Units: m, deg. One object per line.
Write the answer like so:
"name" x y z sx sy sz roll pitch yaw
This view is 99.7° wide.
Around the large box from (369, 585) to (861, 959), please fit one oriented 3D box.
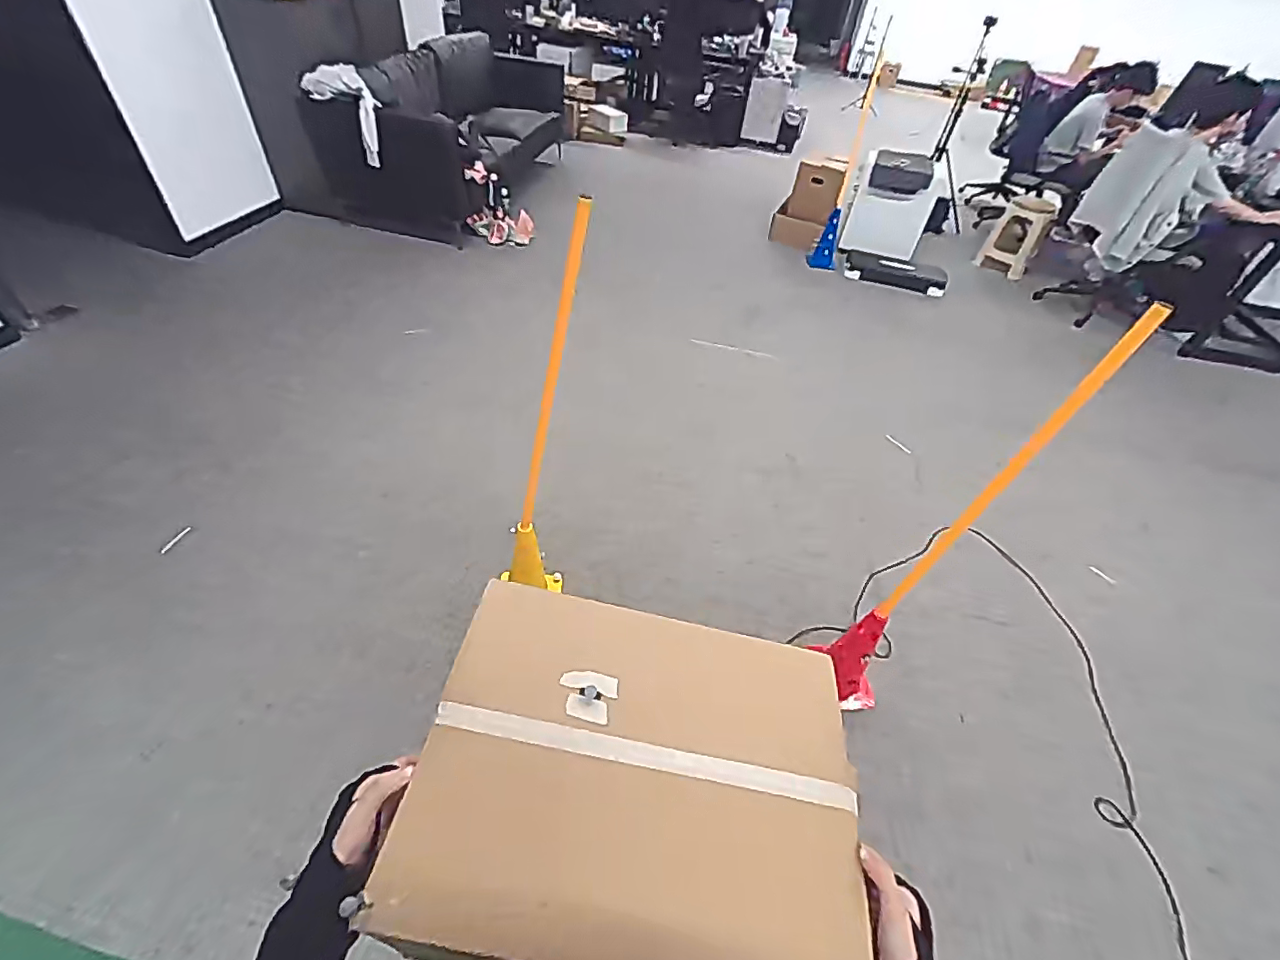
"large box" -0.019 0.369 0.628 0.408 0.320 0.320 13 44 -1
